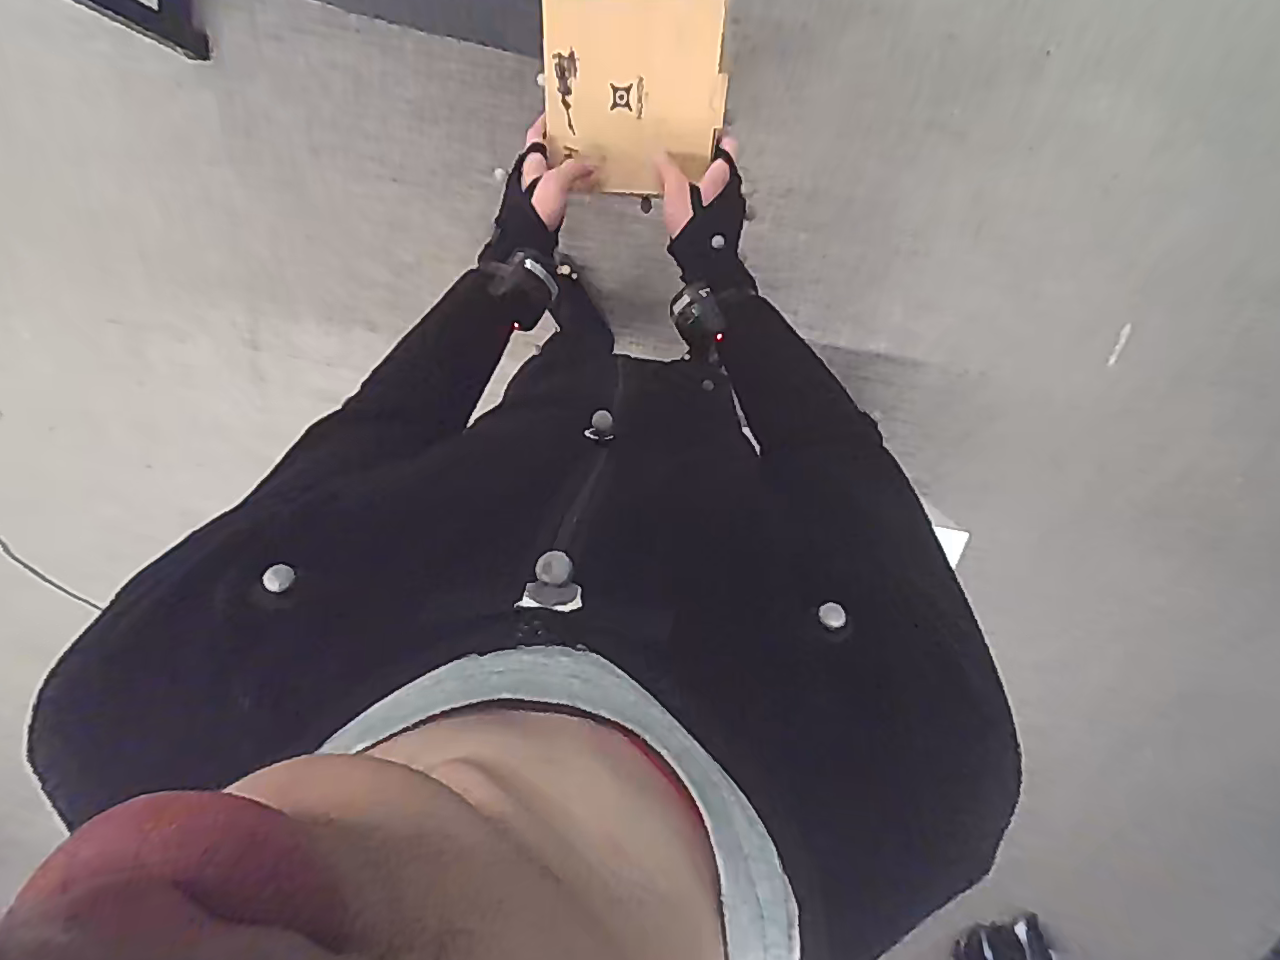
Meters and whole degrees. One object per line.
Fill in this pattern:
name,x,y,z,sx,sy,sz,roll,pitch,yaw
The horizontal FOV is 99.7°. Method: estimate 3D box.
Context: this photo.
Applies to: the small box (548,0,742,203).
small box,0.008,-0.397,0.584,0.179,0.176,0.168,5,115,5
